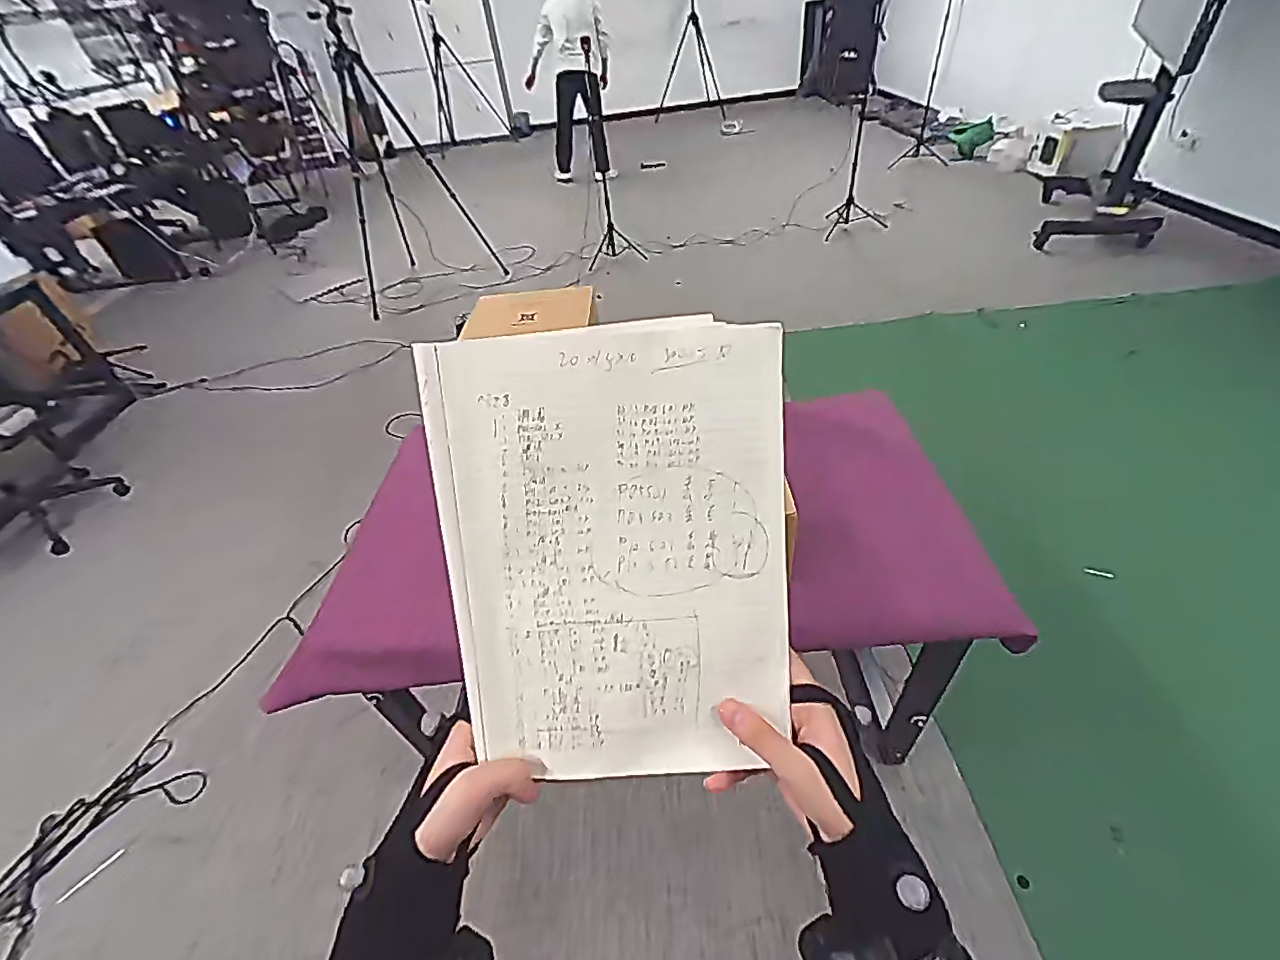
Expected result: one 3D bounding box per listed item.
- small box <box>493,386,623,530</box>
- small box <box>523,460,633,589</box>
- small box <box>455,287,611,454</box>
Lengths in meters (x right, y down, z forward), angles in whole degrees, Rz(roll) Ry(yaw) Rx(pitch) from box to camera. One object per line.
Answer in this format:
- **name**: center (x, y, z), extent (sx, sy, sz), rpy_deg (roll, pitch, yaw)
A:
- **small box**: center (-0.119, -0.032, 0.871), extent (0.168, 0.176, 0.179), rpy_deg (-4, 41, 4)
- **small box**: center (-0.102, 0.085, 0.987), extent (0.168, 0.176, 0.179), rpy_deg (-4, 43, 4)
- **small box**: center (-0.134, -0.148, 0.759), extent (0.168, 0.176, 0.179), rpy_deg (-3, 42, 4)
